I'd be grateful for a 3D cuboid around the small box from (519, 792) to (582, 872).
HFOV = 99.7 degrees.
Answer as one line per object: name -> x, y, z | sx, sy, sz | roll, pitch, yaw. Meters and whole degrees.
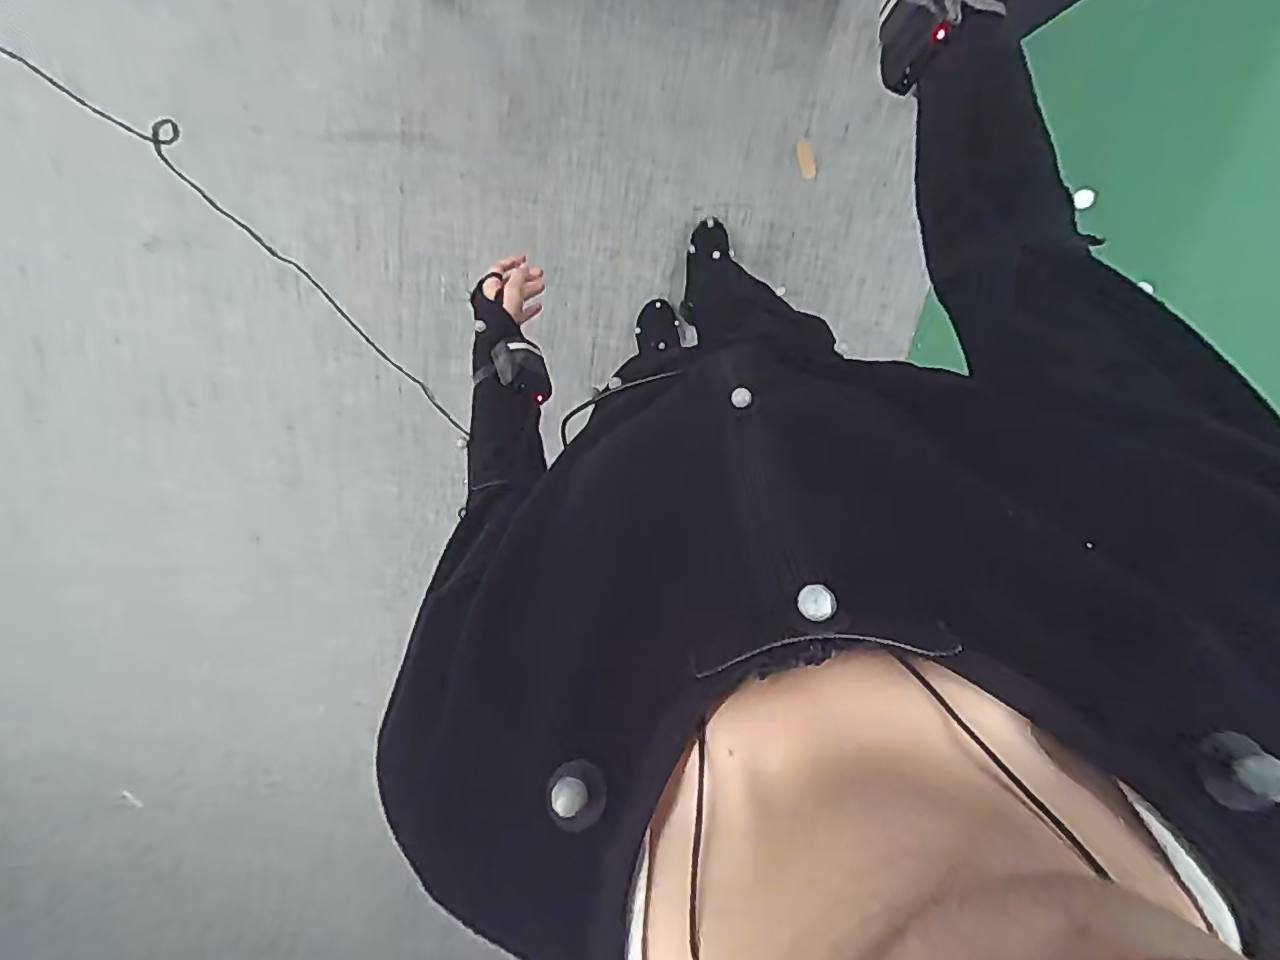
small box -> -0.297, 1.195, 1.844 | 0.179, 0.176, 0.168 | -5, 109, 4
